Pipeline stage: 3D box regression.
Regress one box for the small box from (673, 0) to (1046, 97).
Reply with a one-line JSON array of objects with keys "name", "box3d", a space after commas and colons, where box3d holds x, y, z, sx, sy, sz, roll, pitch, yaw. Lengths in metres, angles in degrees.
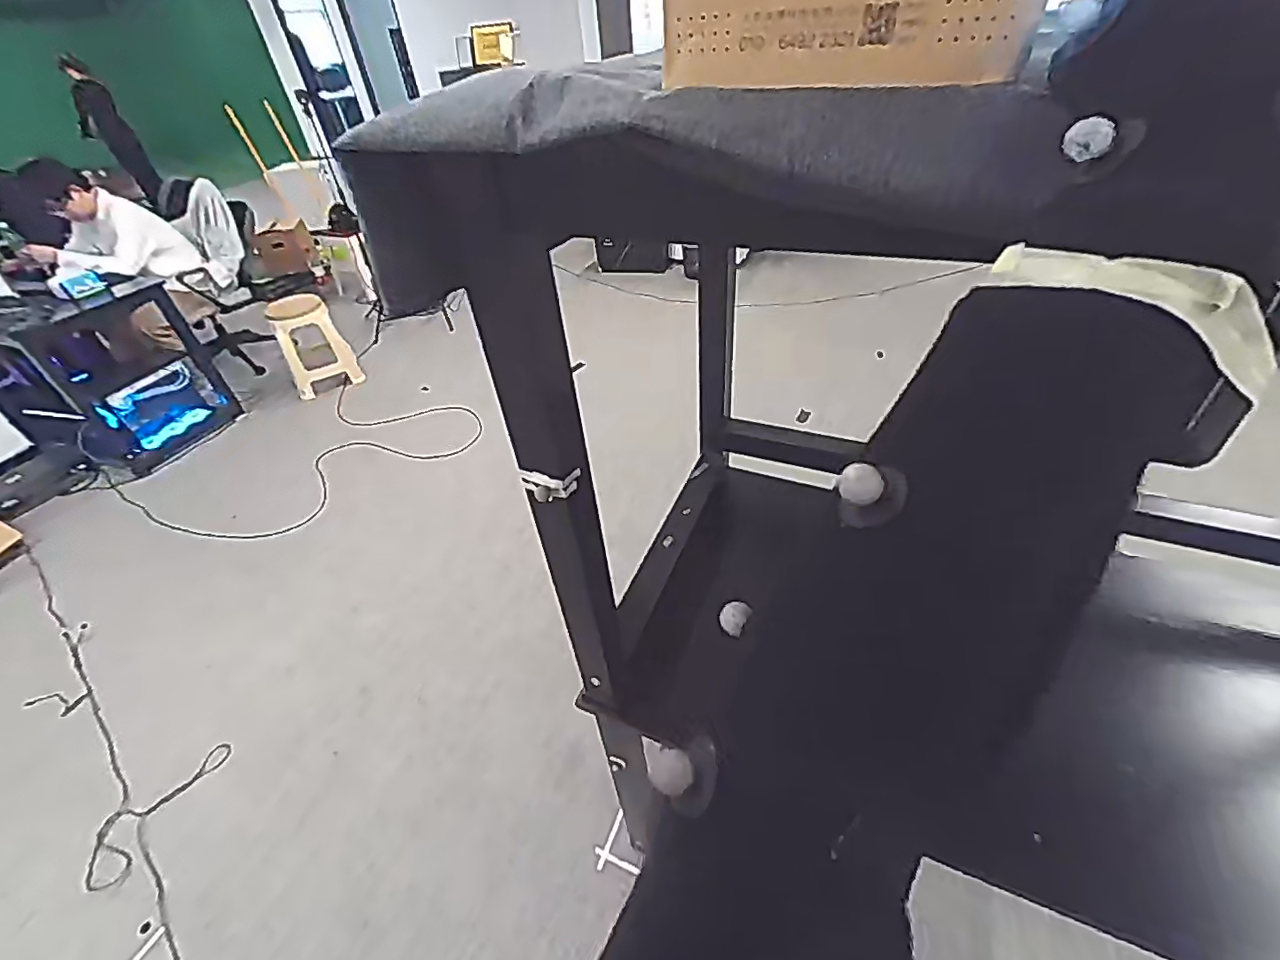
[{"name": "small box", "box3d": [0.118, -0.296, 0.265, 0.168, 0.176, 0.179, 14, 42, 20]}]
